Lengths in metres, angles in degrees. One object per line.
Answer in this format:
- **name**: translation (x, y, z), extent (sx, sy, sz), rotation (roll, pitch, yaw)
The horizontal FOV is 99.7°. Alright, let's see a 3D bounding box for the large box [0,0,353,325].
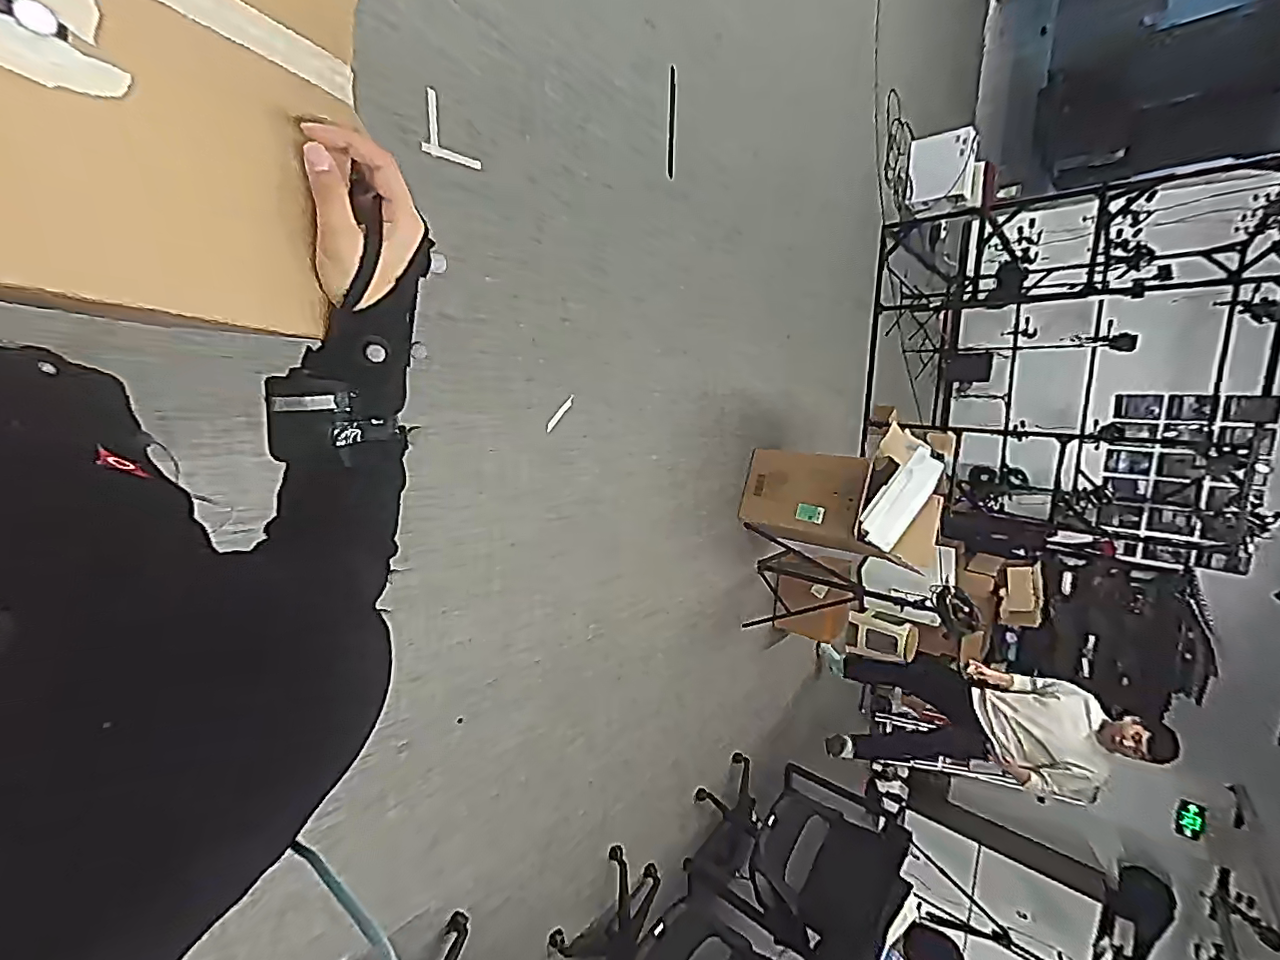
- **large box**: translation (-0.424, -0.271, 0.263), extent (0.408, 0.320, 0.320), rotation (-4, 105, -57)
